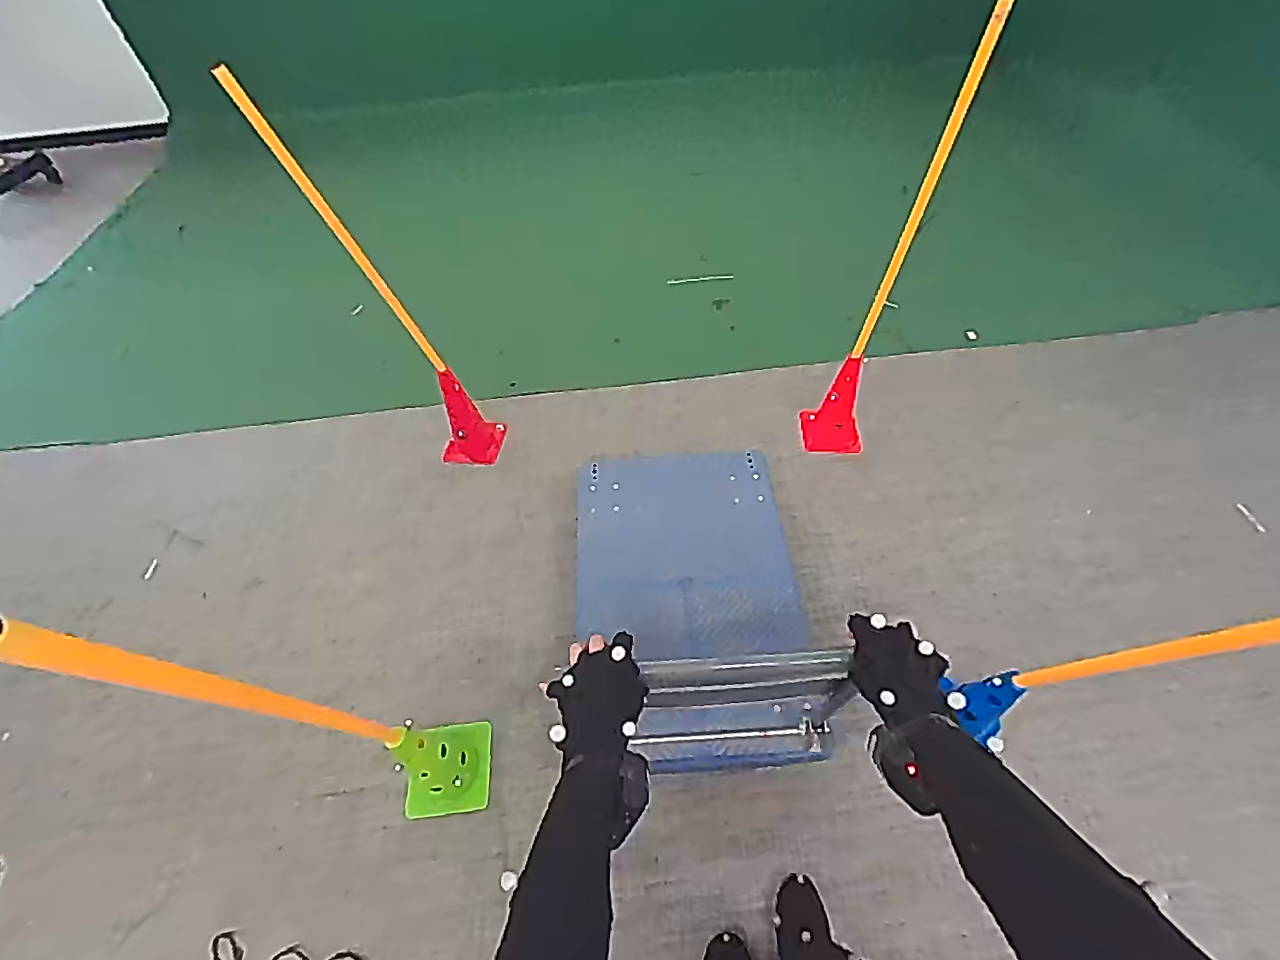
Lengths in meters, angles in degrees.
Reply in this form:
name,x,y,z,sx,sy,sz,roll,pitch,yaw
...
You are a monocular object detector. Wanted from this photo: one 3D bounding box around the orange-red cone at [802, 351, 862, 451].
name,x,y,z,sx,sy,sz,roll,pitch,yaw
orange-red cone,0.679,-0.281,1.807,0.198,0.360,0.199,3,54,6
